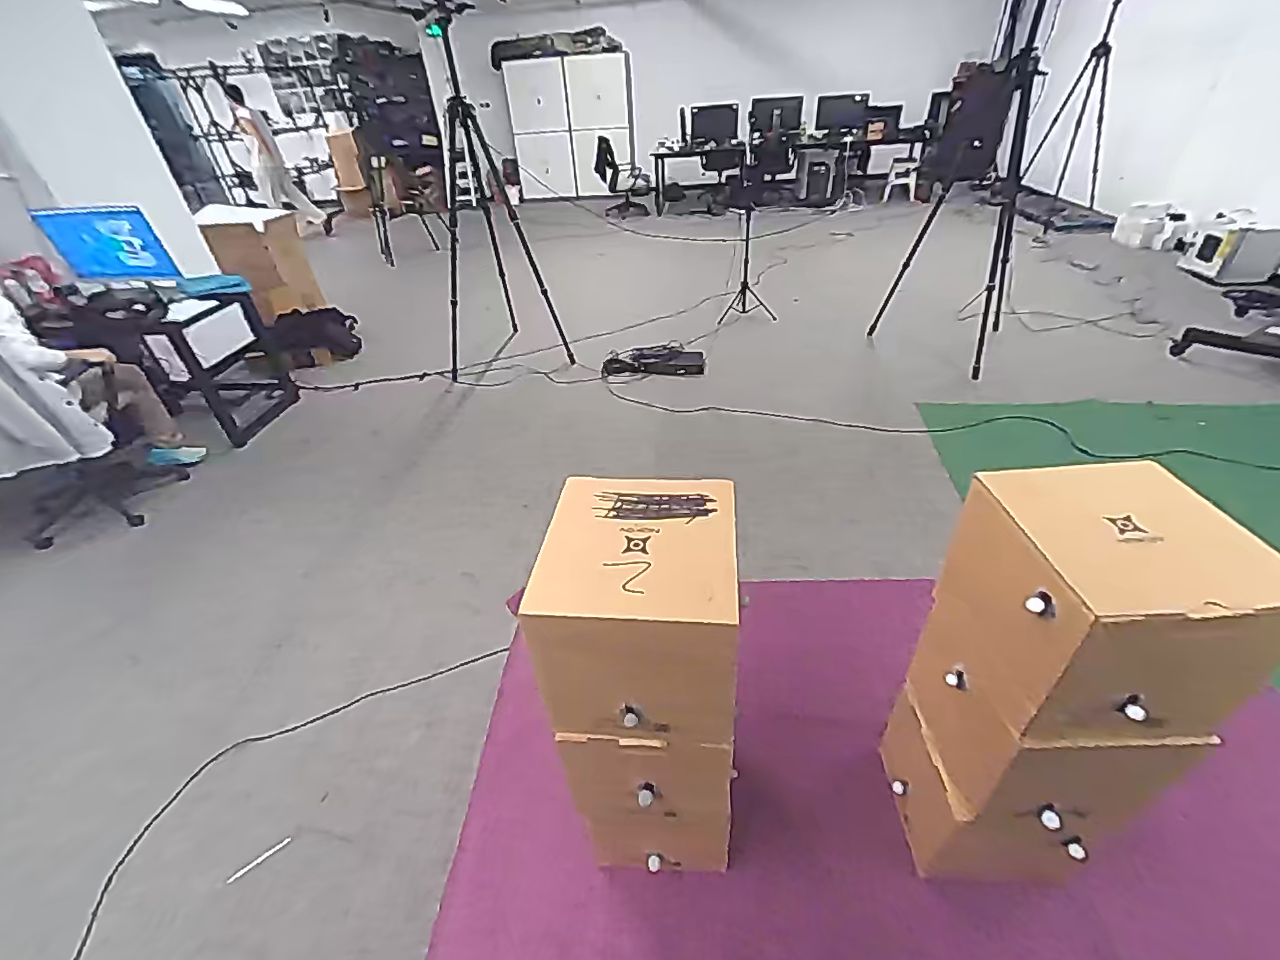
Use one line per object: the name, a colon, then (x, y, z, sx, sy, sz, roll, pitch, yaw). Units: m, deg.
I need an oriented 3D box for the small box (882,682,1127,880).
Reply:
small box: (0.428, 0.372, 0.675, 0.179, 0.176, 0.168, -2, 36, 5)

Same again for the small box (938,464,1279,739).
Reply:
small box: (0.402, 0.106, 0.489, 0.168, 0.176, 0.179, -4, 37, 2)

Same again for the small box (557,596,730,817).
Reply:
small box: (0.016, 0.253, 0.609, 0.168, 0.176, 0.179, 0, 38, 6)

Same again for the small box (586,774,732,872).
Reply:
small box: (0.031, 0.379, 0.712, 0.168, 0.176, 0.179, 0, 37, 6)

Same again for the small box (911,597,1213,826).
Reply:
small box: (0.416, 0.240, 0.580, 0.168, 0.176, 0.179, -3, 37, 4)
